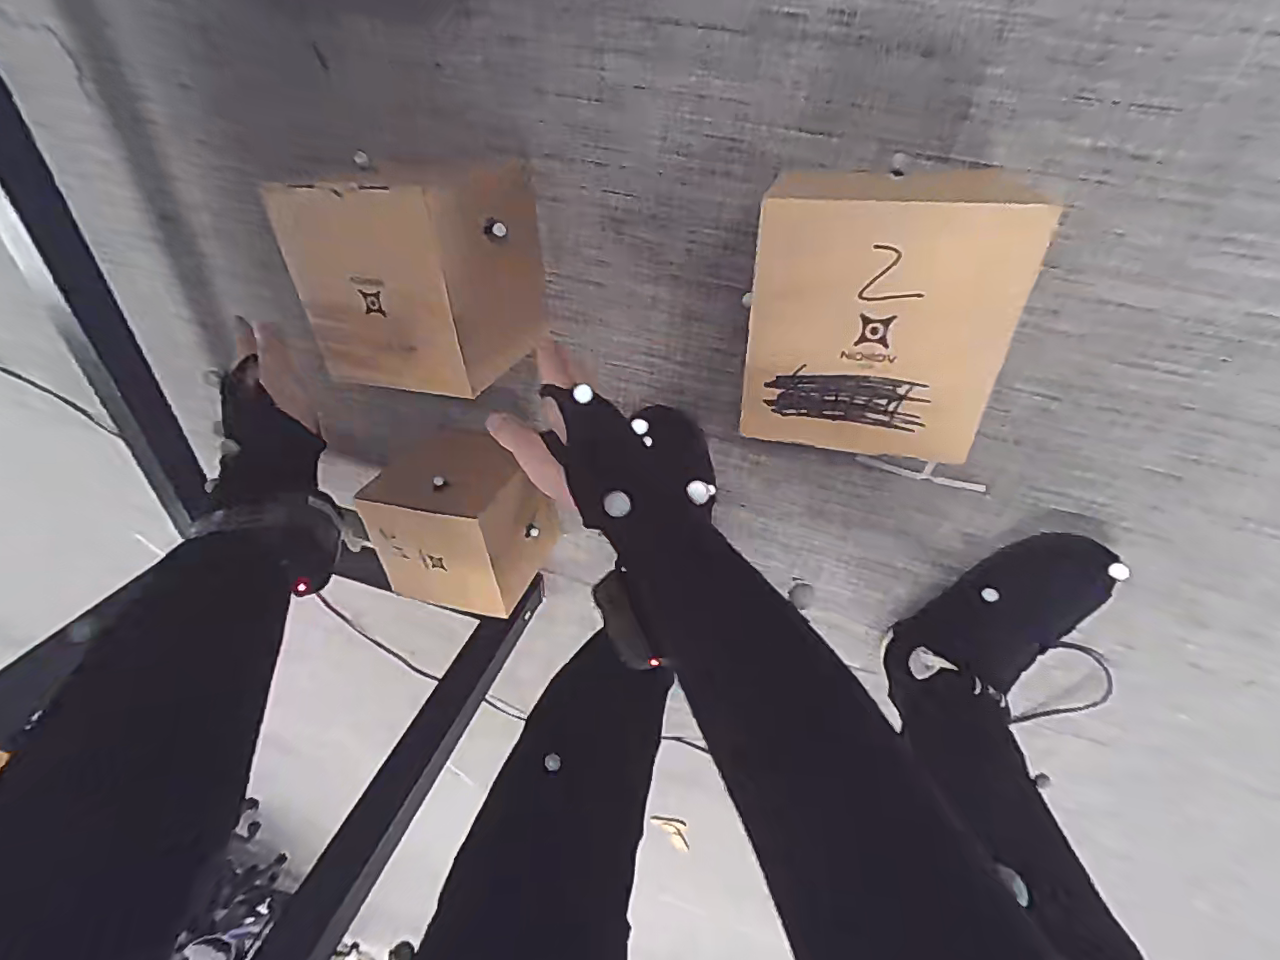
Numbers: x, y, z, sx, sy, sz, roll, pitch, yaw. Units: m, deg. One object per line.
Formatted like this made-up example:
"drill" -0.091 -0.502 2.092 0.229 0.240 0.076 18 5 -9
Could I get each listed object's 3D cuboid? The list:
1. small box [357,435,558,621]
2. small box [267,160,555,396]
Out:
"small box" -0.219 0.054 0.709 0.179 0.176 0.168 8 125 16
"small box" -0.197 -0.204 0.523 0.168 0.176 0.179 10 127 16
